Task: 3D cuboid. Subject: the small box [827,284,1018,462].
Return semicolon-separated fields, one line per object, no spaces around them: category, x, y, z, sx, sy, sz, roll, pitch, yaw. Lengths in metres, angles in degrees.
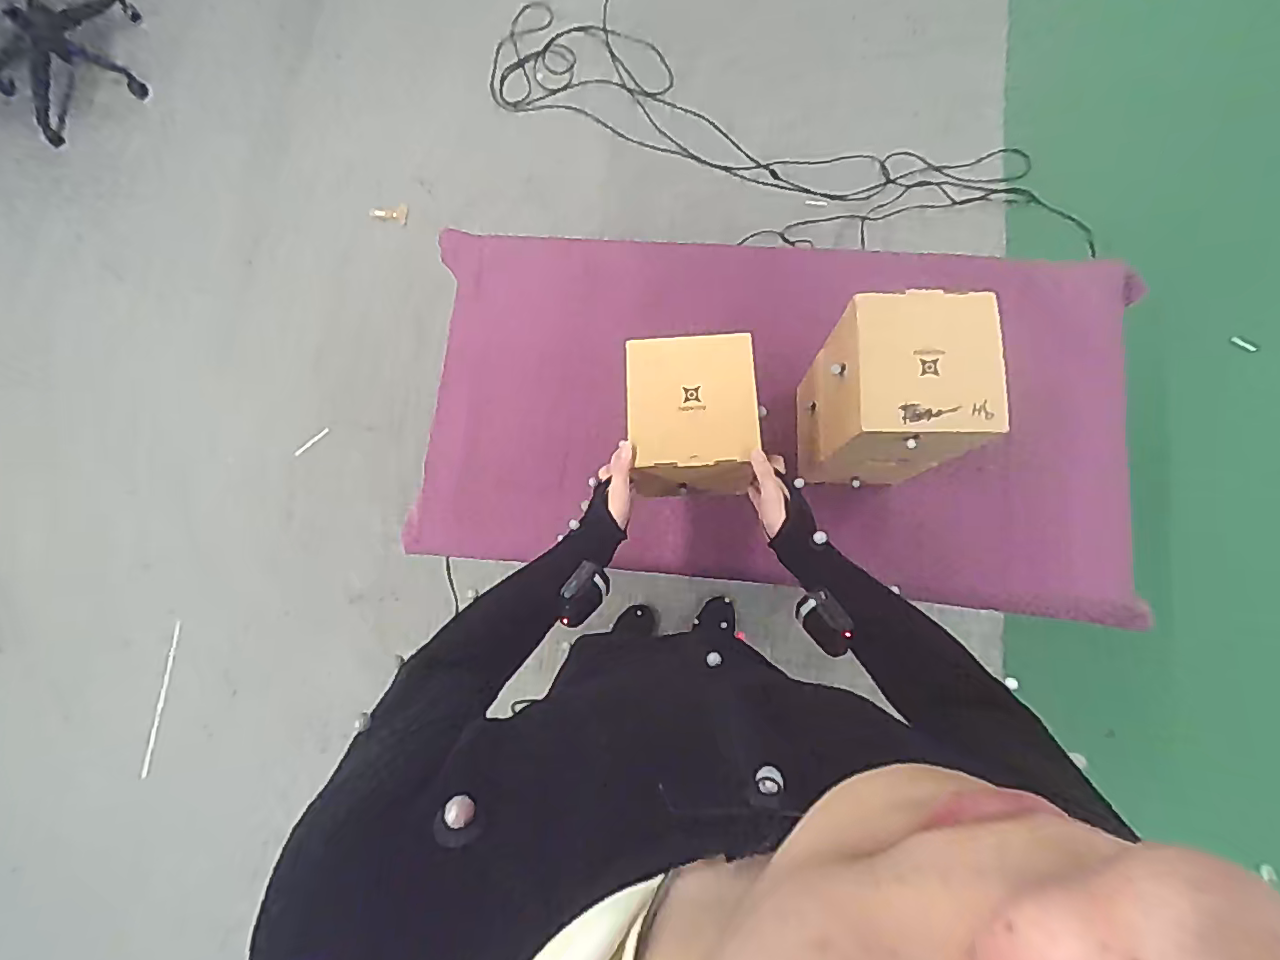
small box;0.346;-0.129;0.699;0.168;0.176;0.179;1;79;5

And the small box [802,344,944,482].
small box;0.358;-0.100;0.860;0.168;0.176;0.179;1;80;5
